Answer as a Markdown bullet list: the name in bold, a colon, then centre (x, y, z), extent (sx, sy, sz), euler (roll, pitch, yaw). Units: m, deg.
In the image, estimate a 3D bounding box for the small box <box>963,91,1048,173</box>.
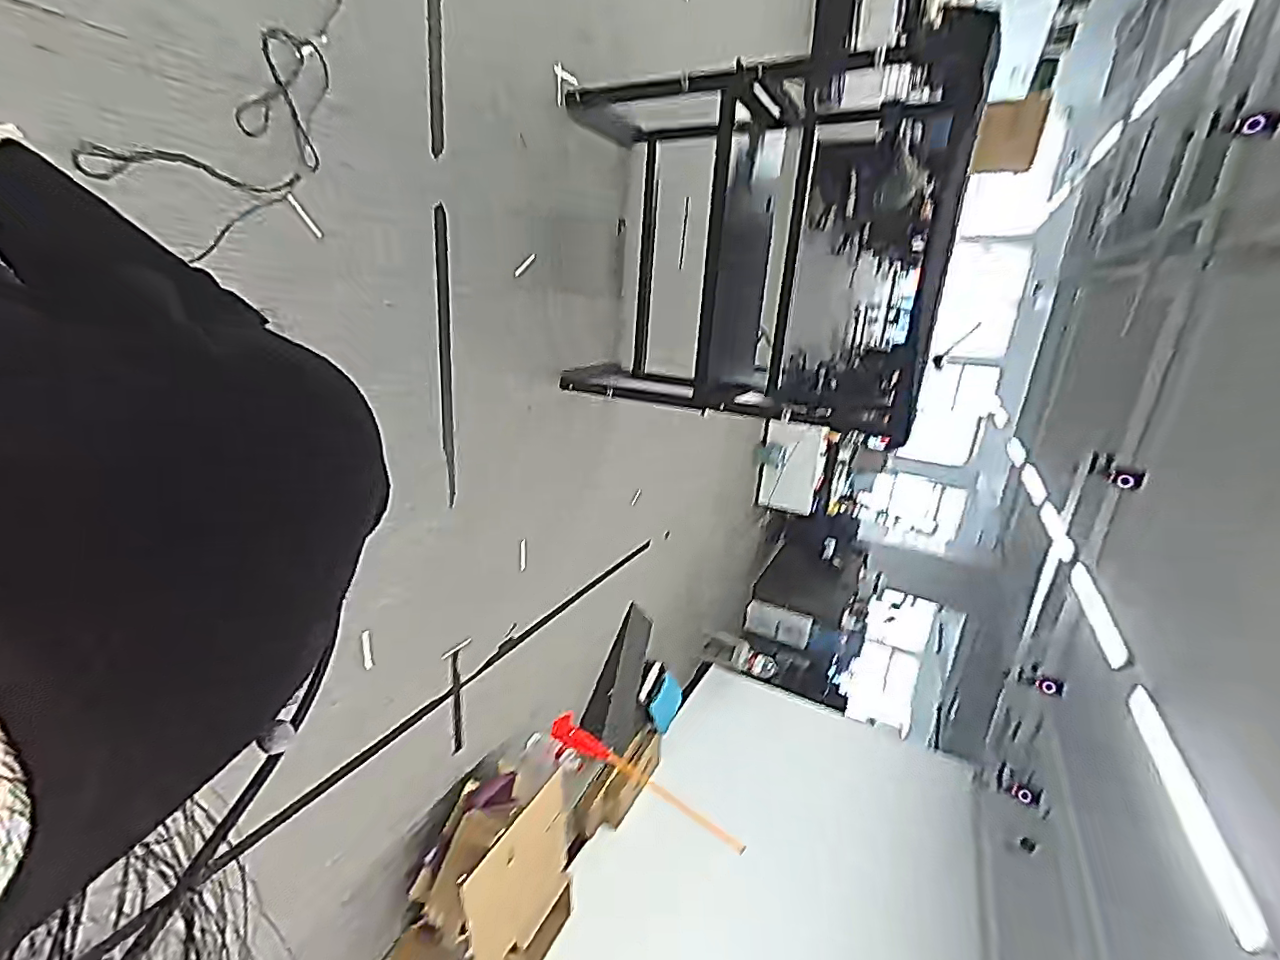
- **small box**: centre (1.075, -1.024, 1.607), extent (0.179, 0.176, 0.168), euler (-30, 129, -60)
